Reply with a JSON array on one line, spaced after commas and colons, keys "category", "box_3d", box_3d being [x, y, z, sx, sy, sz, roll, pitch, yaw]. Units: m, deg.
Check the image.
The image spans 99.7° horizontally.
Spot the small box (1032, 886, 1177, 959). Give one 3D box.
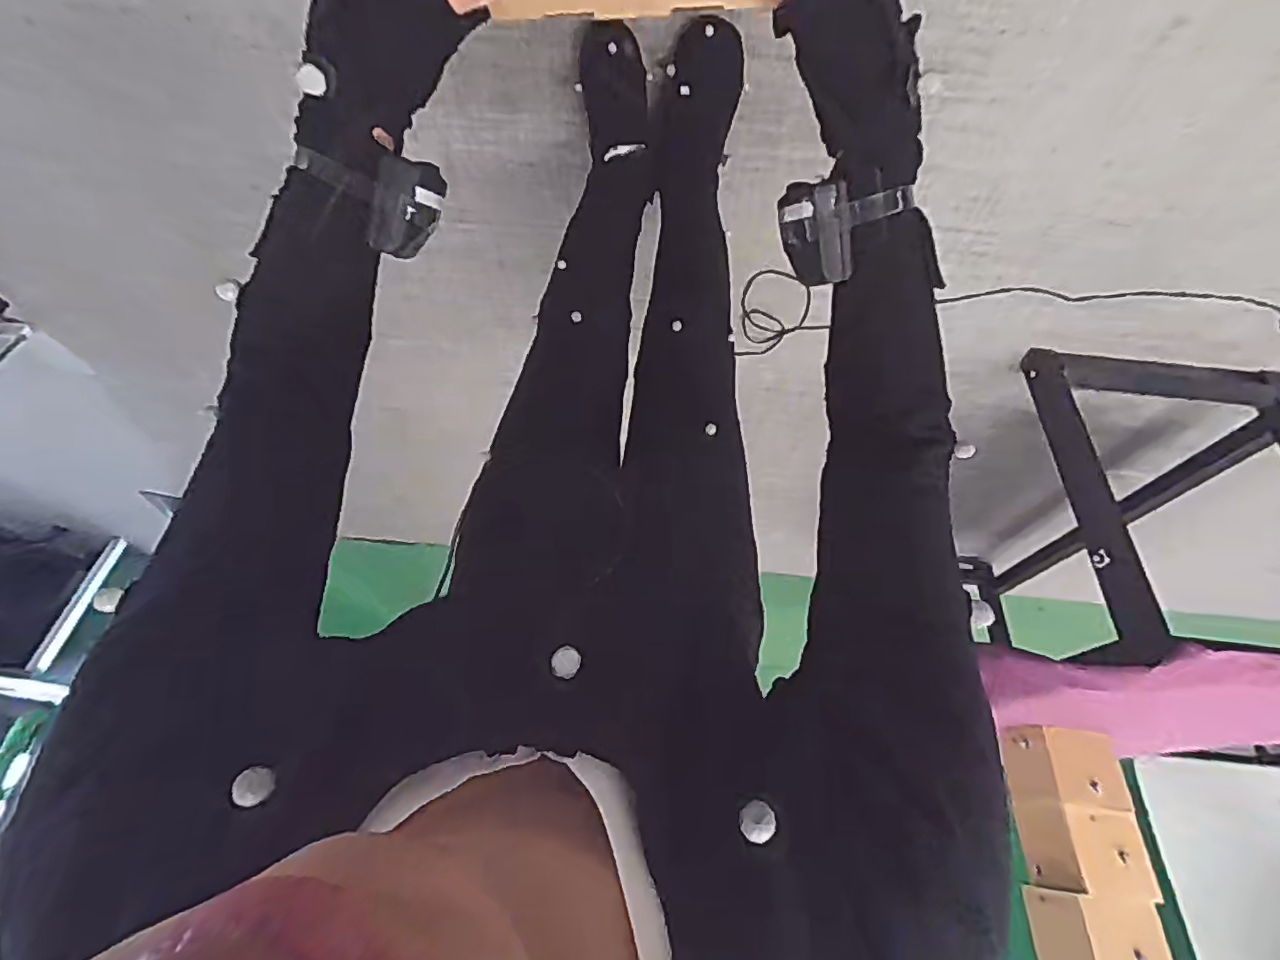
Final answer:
[{"category": "small box", "box_3d": [0.989, 0.980, 1.147, 0.179, 0.176, 0.168, 8, 148, -4]}]

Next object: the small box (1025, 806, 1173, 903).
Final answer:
[{"category": "small box", "box_3d": [1.028, 0.844, 1.233, 0.168, 0.176, 0.179, 7, 148, -1]}]

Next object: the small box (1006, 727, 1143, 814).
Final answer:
[{"category": "small box", "box_3d": [1.041, 0.704, 1.312, 0.179, 0.176, 0.168, 8, 148, -2]}]
